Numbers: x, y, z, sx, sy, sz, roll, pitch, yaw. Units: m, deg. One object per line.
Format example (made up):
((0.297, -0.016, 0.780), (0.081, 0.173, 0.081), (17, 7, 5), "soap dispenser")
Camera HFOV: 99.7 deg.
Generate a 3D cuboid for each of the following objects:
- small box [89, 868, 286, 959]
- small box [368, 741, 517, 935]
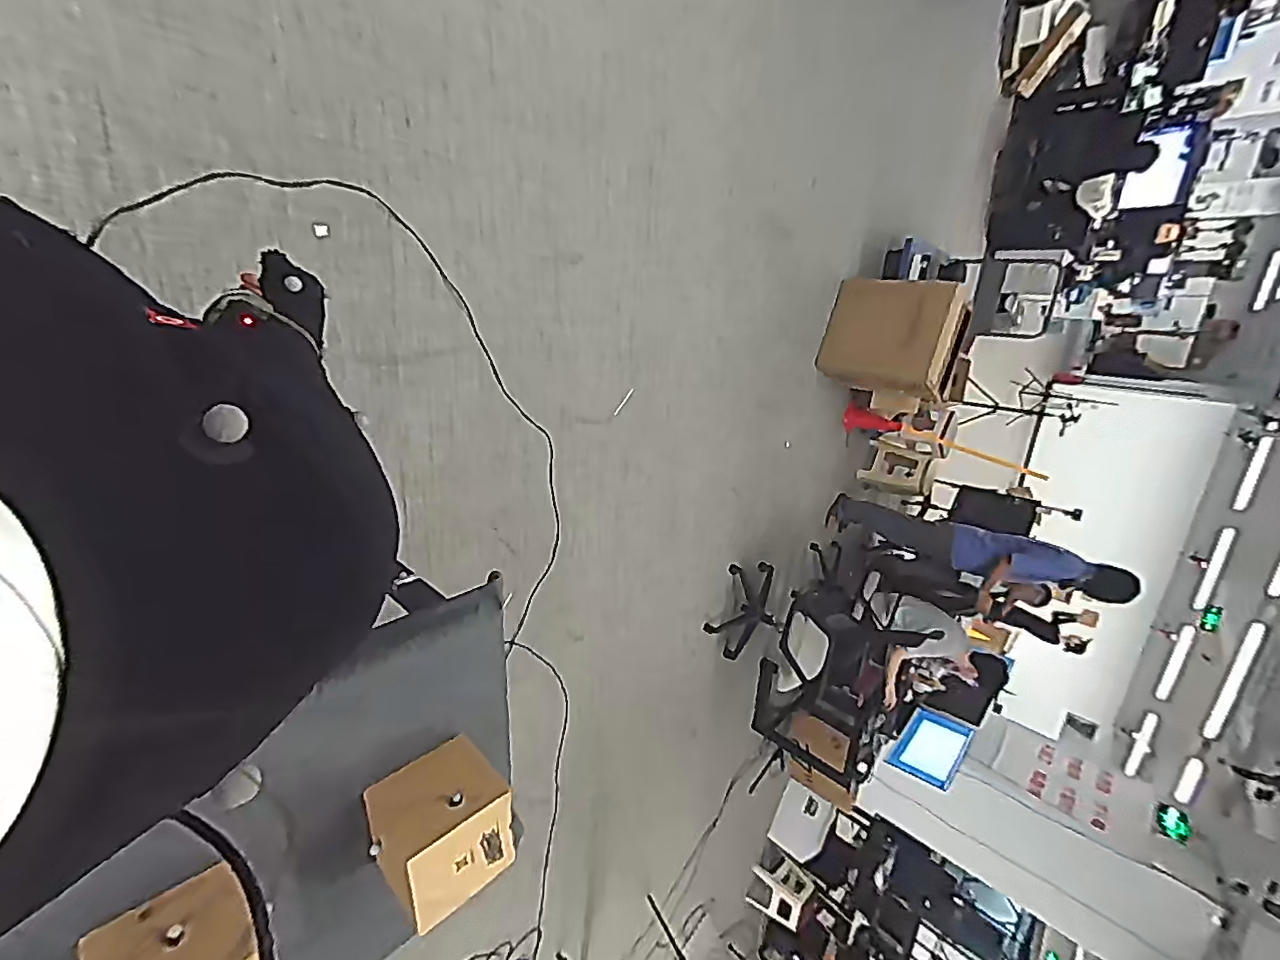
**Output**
((-0.559, 0.641, 0.681), (0.168, 0.176, 0.179), (-15, 114, -45), "small box")
((-0.330, 0.586, 0.914), (0.179, 0.176, 0.168), (-17, 116, -42), "small box")
